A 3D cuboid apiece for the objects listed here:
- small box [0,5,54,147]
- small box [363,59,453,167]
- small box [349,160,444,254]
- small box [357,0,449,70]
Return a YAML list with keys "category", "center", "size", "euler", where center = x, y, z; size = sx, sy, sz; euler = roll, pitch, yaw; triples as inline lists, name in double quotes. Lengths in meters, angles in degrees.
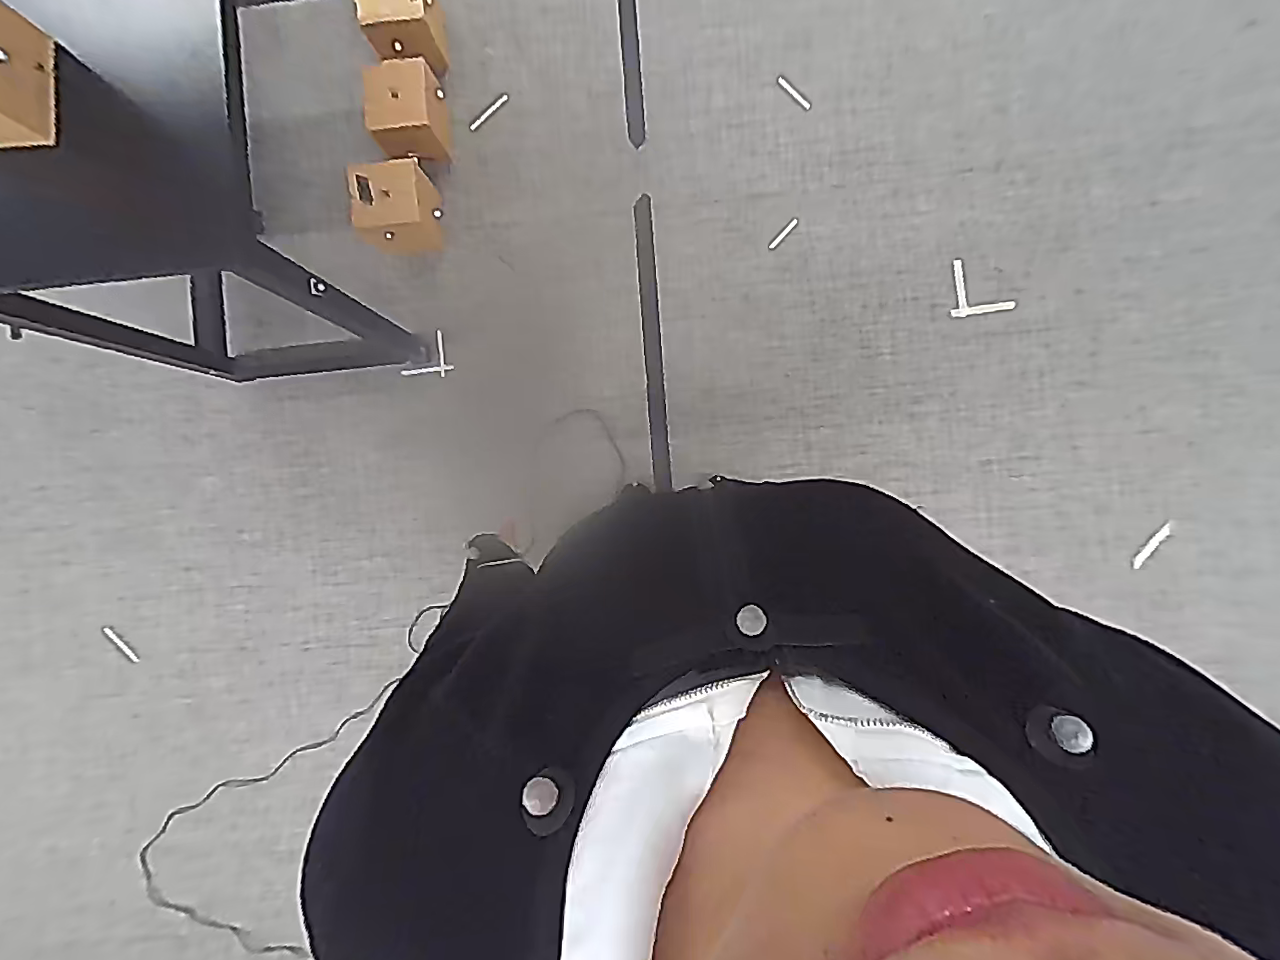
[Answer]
- category: "small box"
  center: [-0.975, -0.589, 0.746]
  size: [0.179, 0.176, 0.168]
  euler: [-2, 89, 2]
- category: "small box"
  center: [-0.622, -0.986, 1.467]
  size: [0.168, 0.176, 0.179]
  euler: [-6, 90, 3]
- category: "small box"
  center: [-0.654, -0.730, 1.464]
  size: [0.179, 0.176, 0.168]
  euler: [-6, 90, 1]
- category: "small box"
  center: [-0.641, -1.248, 1.467]
  size: [0.179, 0.176, 0.168]
  euler: [-6, 90, 3]
